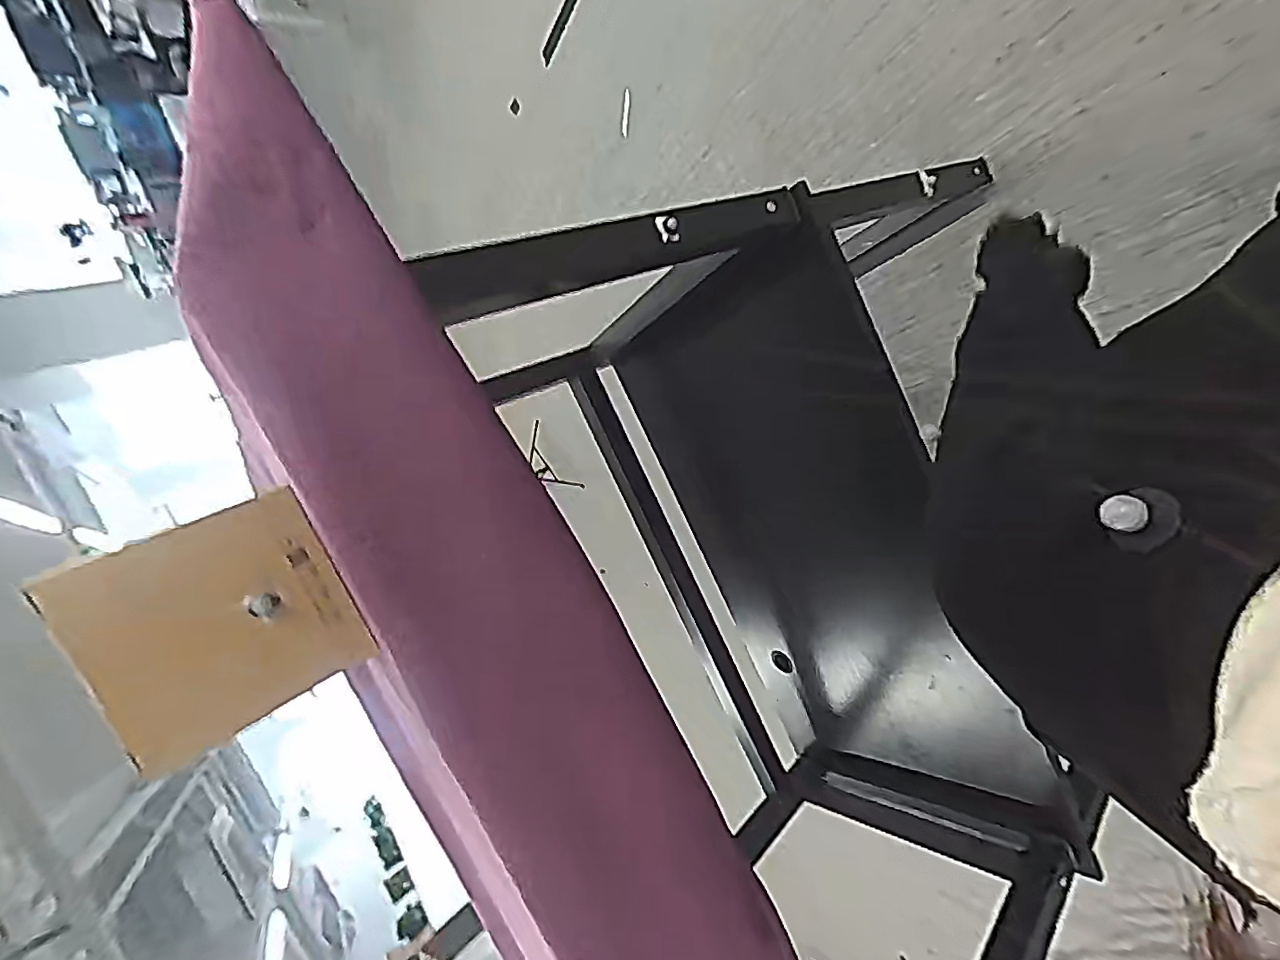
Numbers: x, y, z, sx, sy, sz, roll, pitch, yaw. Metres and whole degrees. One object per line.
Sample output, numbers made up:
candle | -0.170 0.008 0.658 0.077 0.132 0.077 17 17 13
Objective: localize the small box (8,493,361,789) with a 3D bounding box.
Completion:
small box | -0.375 0.124 0.485 0.179 0.176 0.168 -14 103 56
